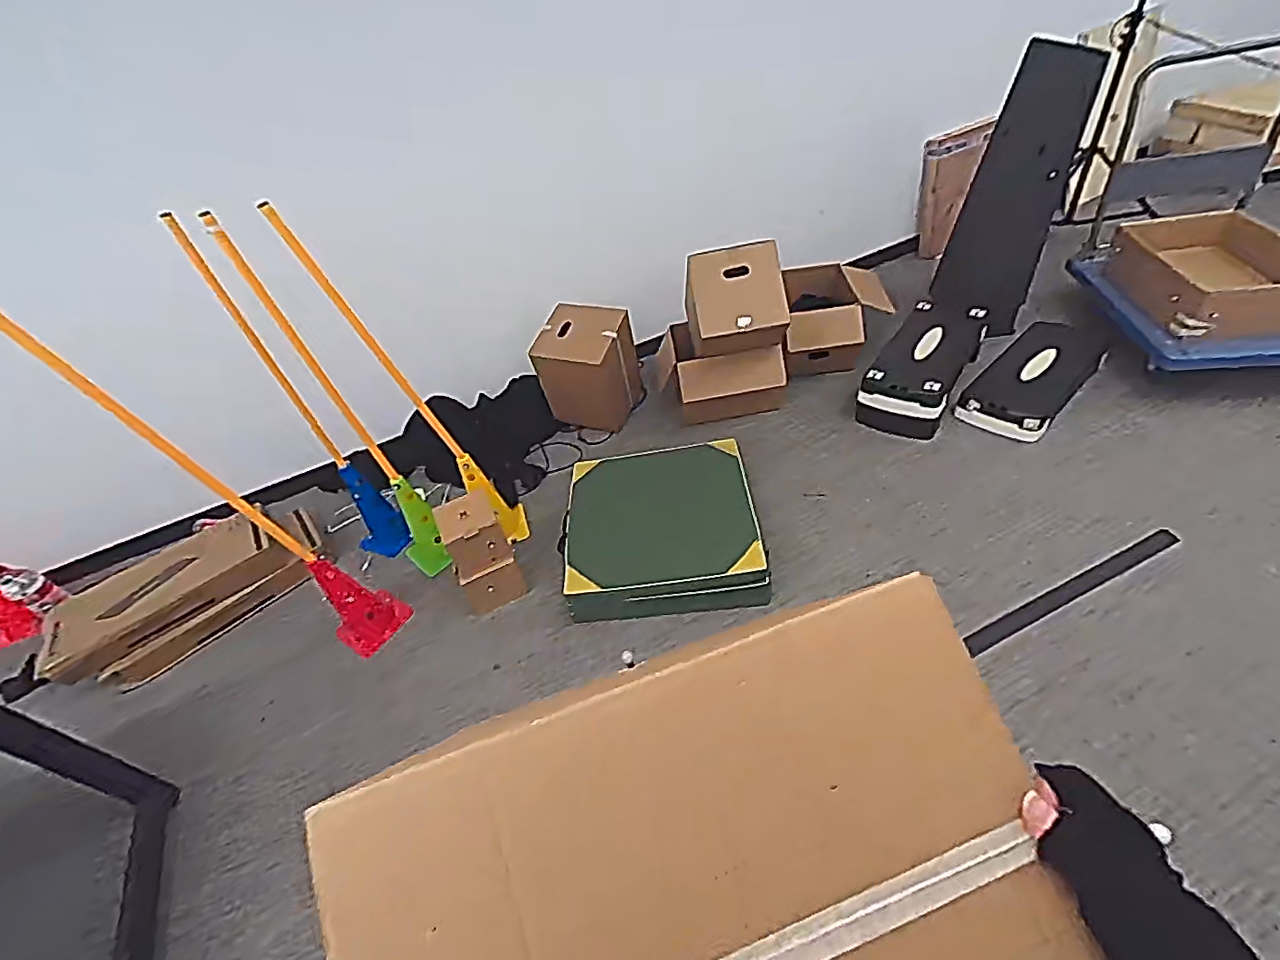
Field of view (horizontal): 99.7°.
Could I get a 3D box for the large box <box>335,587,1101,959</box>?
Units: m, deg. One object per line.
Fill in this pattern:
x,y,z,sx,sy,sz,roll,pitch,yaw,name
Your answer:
0.052,0.314,0.451,0.408,0.320,0.320,-19,74,-7,large box
